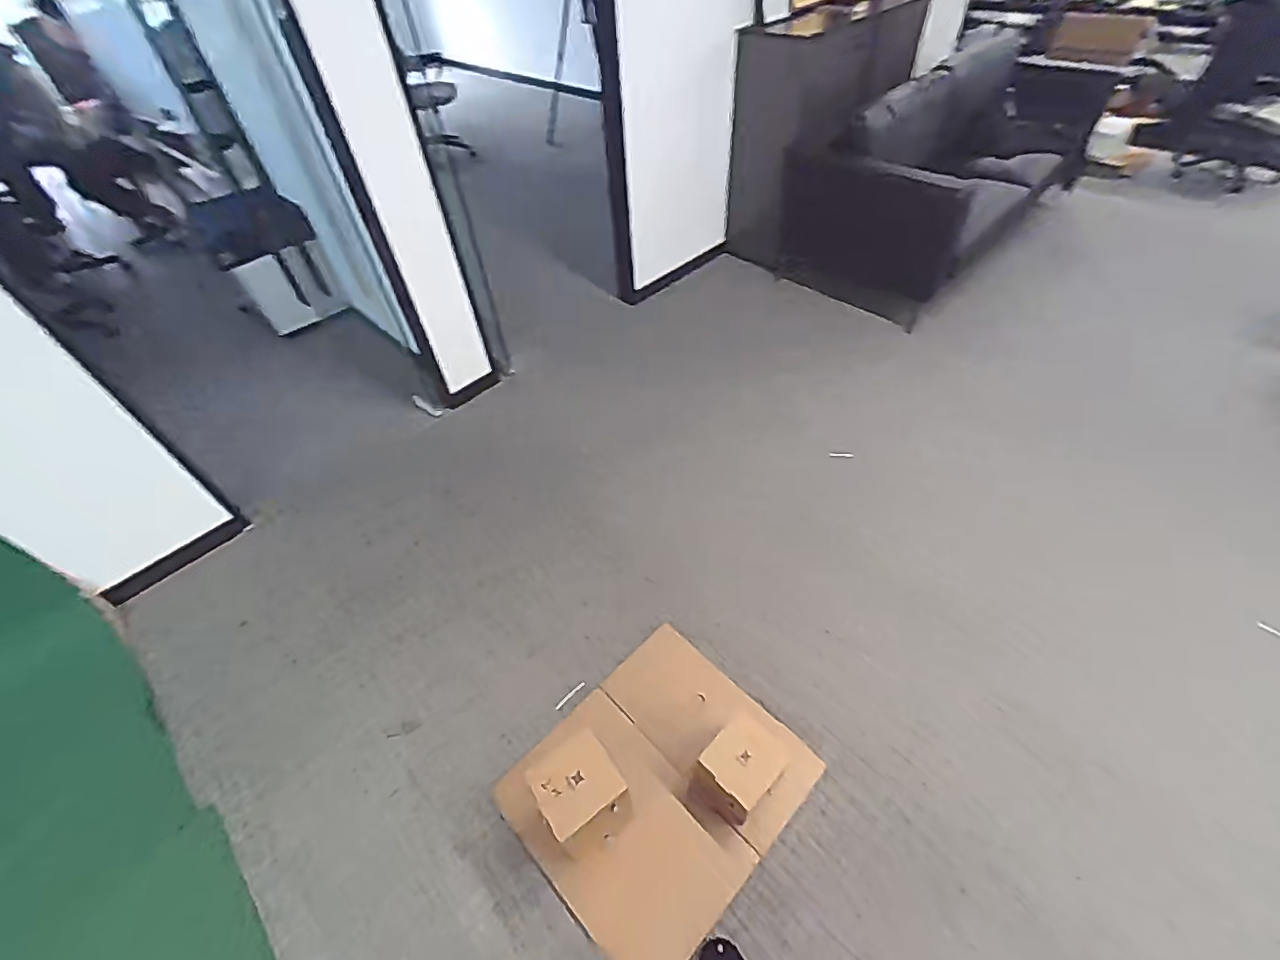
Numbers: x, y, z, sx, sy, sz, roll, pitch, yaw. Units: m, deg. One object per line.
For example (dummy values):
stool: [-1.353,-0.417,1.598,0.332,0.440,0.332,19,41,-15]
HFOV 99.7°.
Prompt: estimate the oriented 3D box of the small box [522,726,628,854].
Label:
small box: [-0.140,0.702,1.225,0.179,0.176,0.168,-31,53,-21]

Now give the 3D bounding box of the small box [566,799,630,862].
small box: [-0.139,0.811,1.351,0.179,0.176,0.168,-30,53,-22]

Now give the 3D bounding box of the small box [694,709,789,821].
small box: [0.257,0.738,1.392,0.179,0.176,0.168,-37,56,-25]
